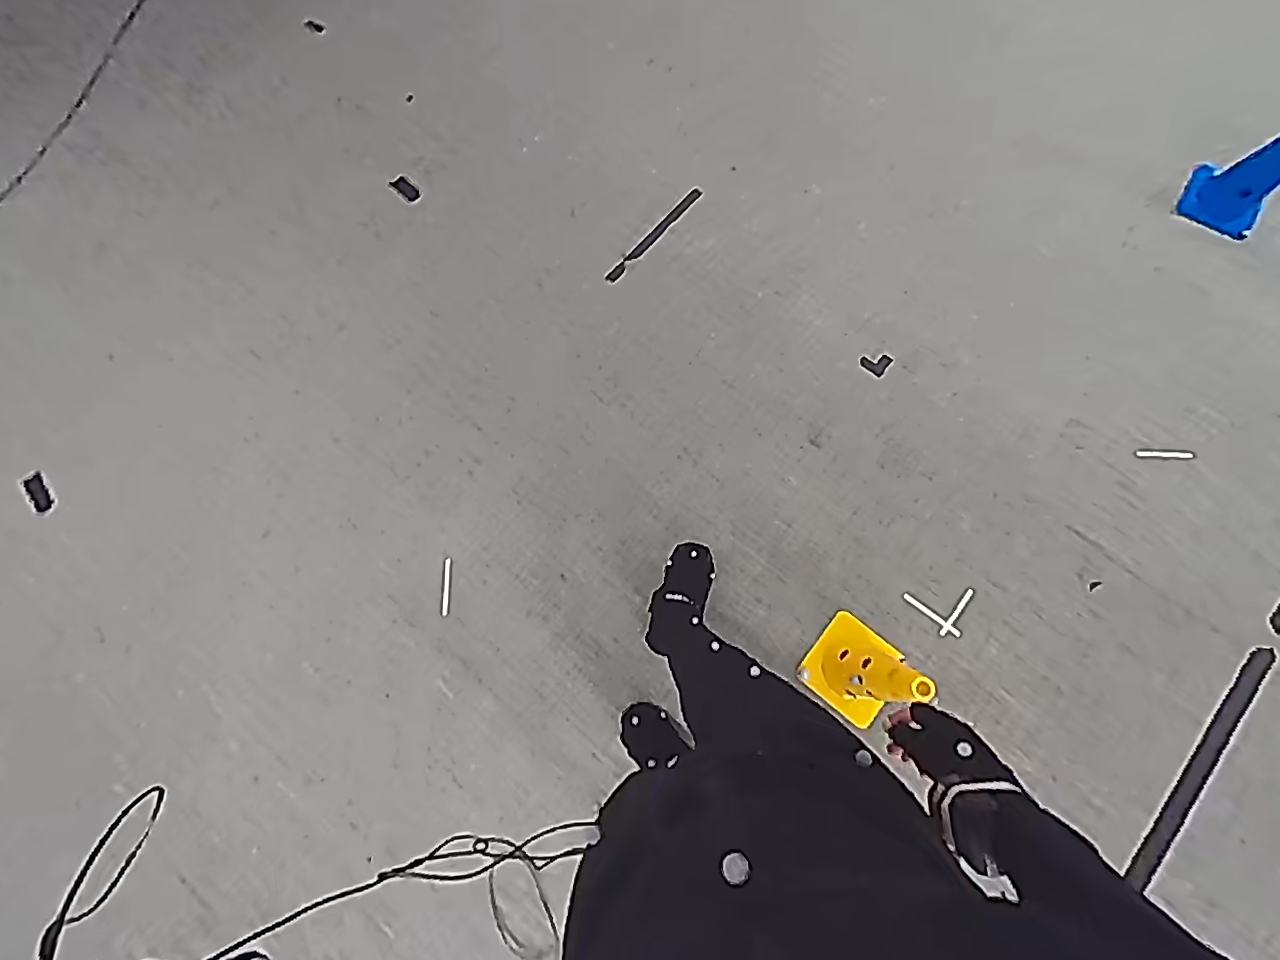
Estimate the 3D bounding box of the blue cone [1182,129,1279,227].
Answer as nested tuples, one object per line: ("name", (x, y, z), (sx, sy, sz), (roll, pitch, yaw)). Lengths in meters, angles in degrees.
("blue cone", (1.643, -0.857, 1.370), (0.192, 0.380, 0.193), (33, 80, 9))
